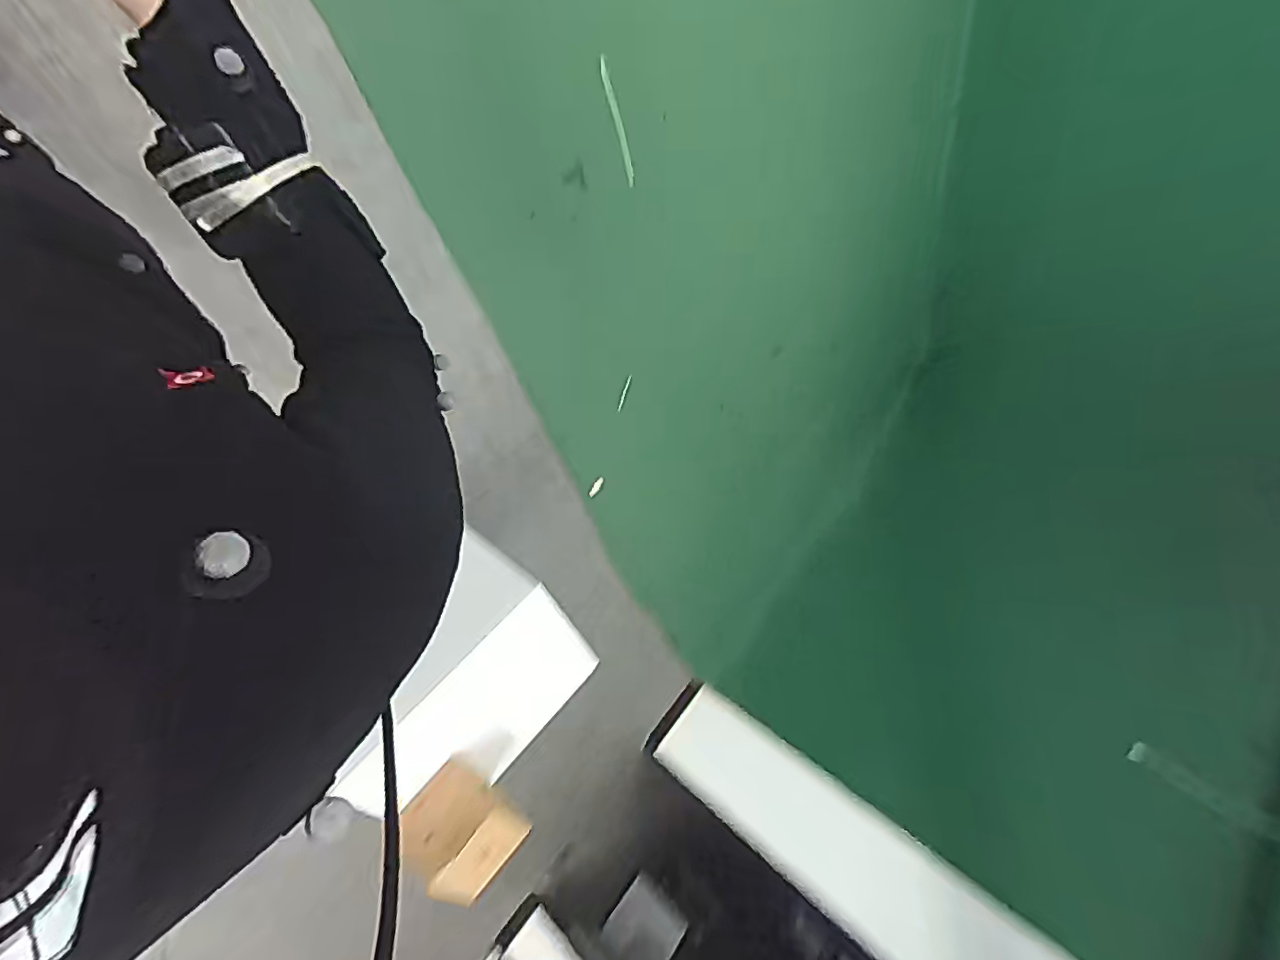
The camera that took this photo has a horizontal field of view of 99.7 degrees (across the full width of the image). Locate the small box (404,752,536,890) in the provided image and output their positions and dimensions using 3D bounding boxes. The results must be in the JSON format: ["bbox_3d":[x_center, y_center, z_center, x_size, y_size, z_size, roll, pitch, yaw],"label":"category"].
[{"bbox_3d":[-0.357,0.708,1.134,0.168,0.176,0.179,-46,140,-21],"label":"small box"}]
